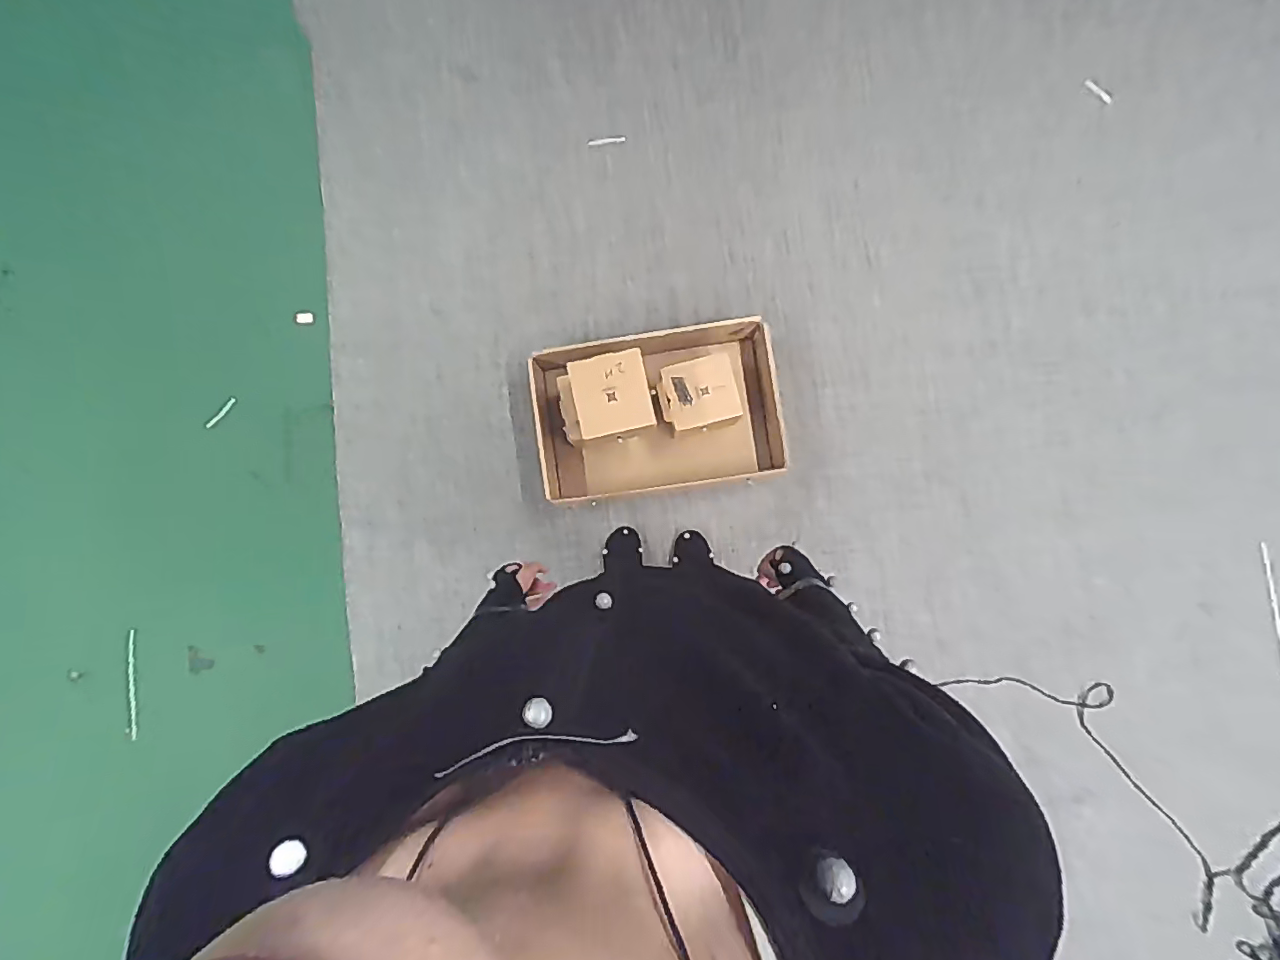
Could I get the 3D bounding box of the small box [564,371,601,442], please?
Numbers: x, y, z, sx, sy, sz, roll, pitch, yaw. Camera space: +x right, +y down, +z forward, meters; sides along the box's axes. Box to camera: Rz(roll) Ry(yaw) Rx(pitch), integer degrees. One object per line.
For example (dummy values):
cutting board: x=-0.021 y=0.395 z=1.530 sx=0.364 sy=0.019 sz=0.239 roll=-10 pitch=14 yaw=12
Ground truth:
small box: x=-0.088 y=-0.198 z=1.419 sx=0.179 sy=0.176 sz=0.168 roll=-11 pitch=88 yaw=1

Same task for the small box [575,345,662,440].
small box: x=-0.045 y=-0.194 z=1.254 sx=0.168 sy=0.176 sz=0.179 roll=-12 pitch=88 yaw=0

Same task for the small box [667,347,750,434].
small box: x=0.174 y=-0.225 z=1.405 sx=0.179 sy=0.176 sz=0.168 roll=-14 pitch=87 yaw=3
